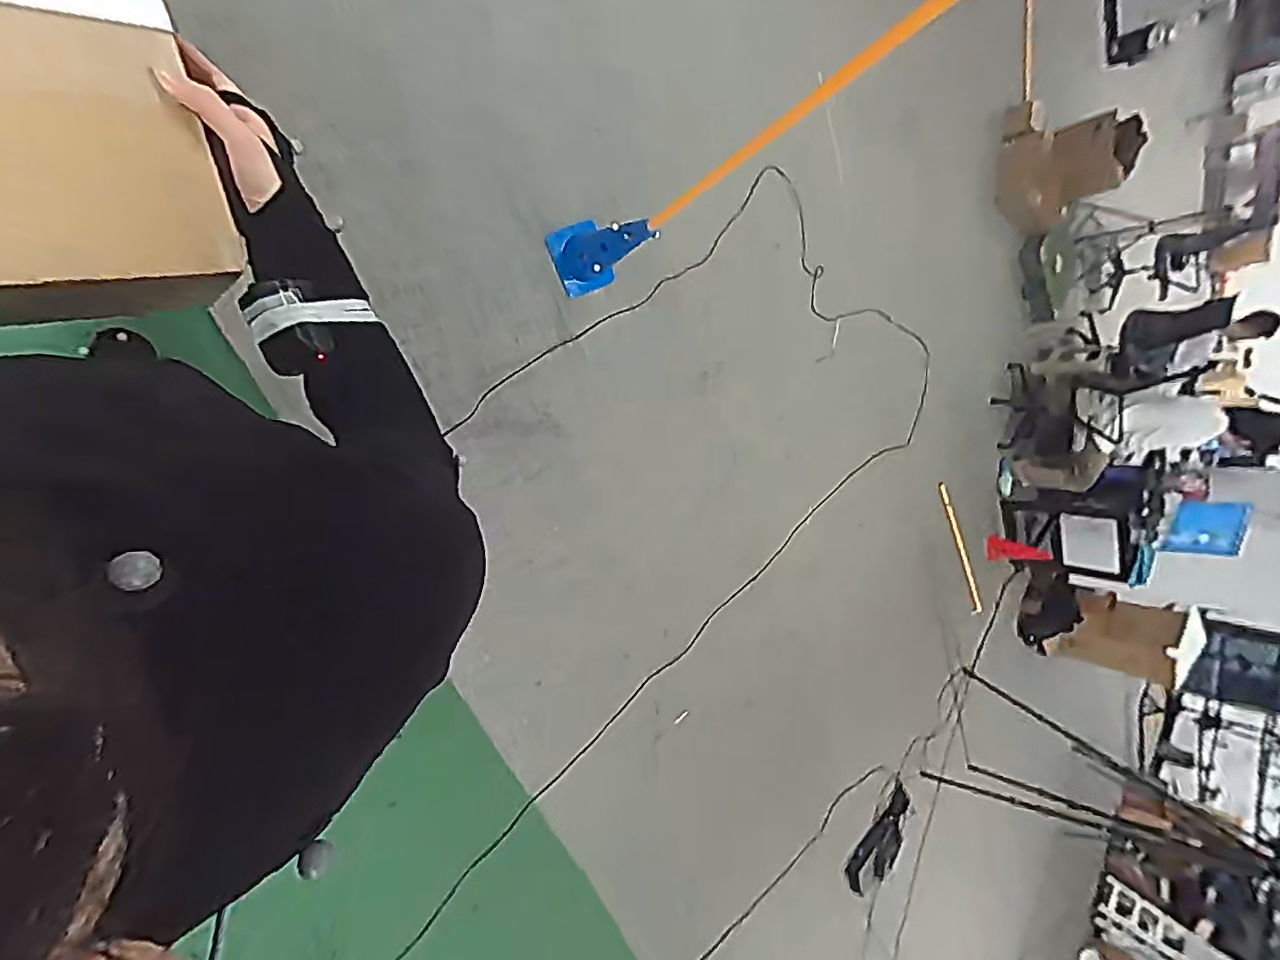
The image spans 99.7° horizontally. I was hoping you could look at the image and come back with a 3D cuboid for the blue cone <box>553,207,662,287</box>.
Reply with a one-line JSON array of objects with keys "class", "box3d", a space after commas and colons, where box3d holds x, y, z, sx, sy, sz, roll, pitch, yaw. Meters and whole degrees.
[{"class": "blue cone", "box3d": [-0.073, -0.708, 1.567, 0.192, 0.380, 0.193, -39, 115, -29]}]
